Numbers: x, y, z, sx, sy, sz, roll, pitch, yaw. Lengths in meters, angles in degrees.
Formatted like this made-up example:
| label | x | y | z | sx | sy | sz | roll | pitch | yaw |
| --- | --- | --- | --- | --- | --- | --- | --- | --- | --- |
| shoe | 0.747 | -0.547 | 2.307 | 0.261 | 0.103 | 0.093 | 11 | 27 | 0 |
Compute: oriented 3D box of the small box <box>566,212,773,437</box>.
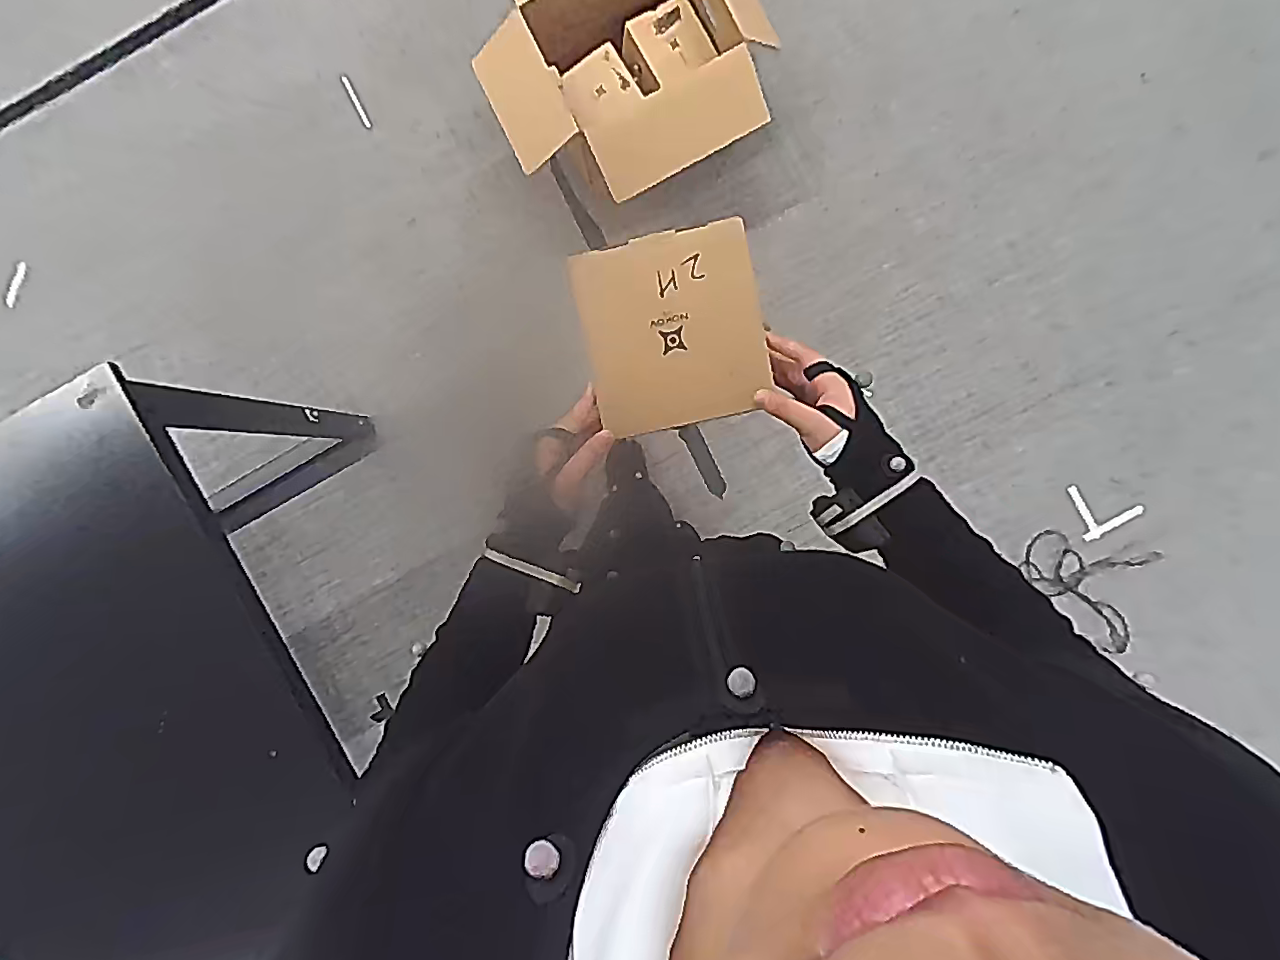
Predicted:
| label | x | y | z | sx | sy | sz | roll | pitch | yaw |
| --- | --- | --- | --- | --- | --- | --- | --- | --- | --- |
| small box | 0.033 | -0.149 | 0.576 | 0.168 | 0.176 | 0.179 | -12 | 94 | 3 |
